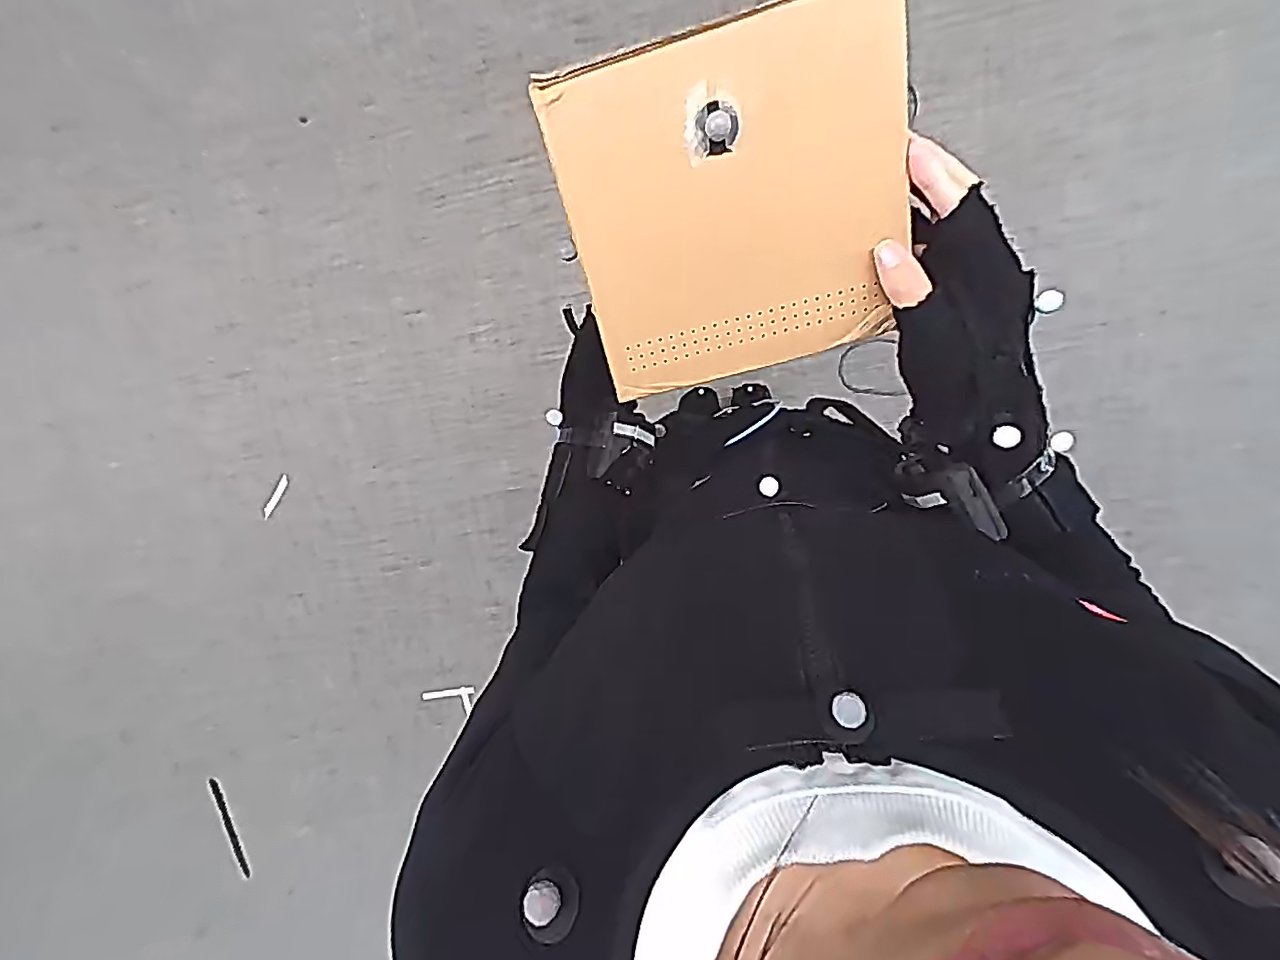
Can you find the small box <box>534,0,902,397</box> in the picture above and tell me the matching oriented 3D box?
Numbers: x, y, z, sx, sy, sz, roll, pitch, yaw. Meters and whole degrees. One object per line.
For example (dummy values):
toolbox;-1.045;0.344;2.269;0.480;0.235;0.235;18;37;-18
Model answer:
small box;0.053;-0.168;0.356;0.179;0.168;0.176;-13;118;7
